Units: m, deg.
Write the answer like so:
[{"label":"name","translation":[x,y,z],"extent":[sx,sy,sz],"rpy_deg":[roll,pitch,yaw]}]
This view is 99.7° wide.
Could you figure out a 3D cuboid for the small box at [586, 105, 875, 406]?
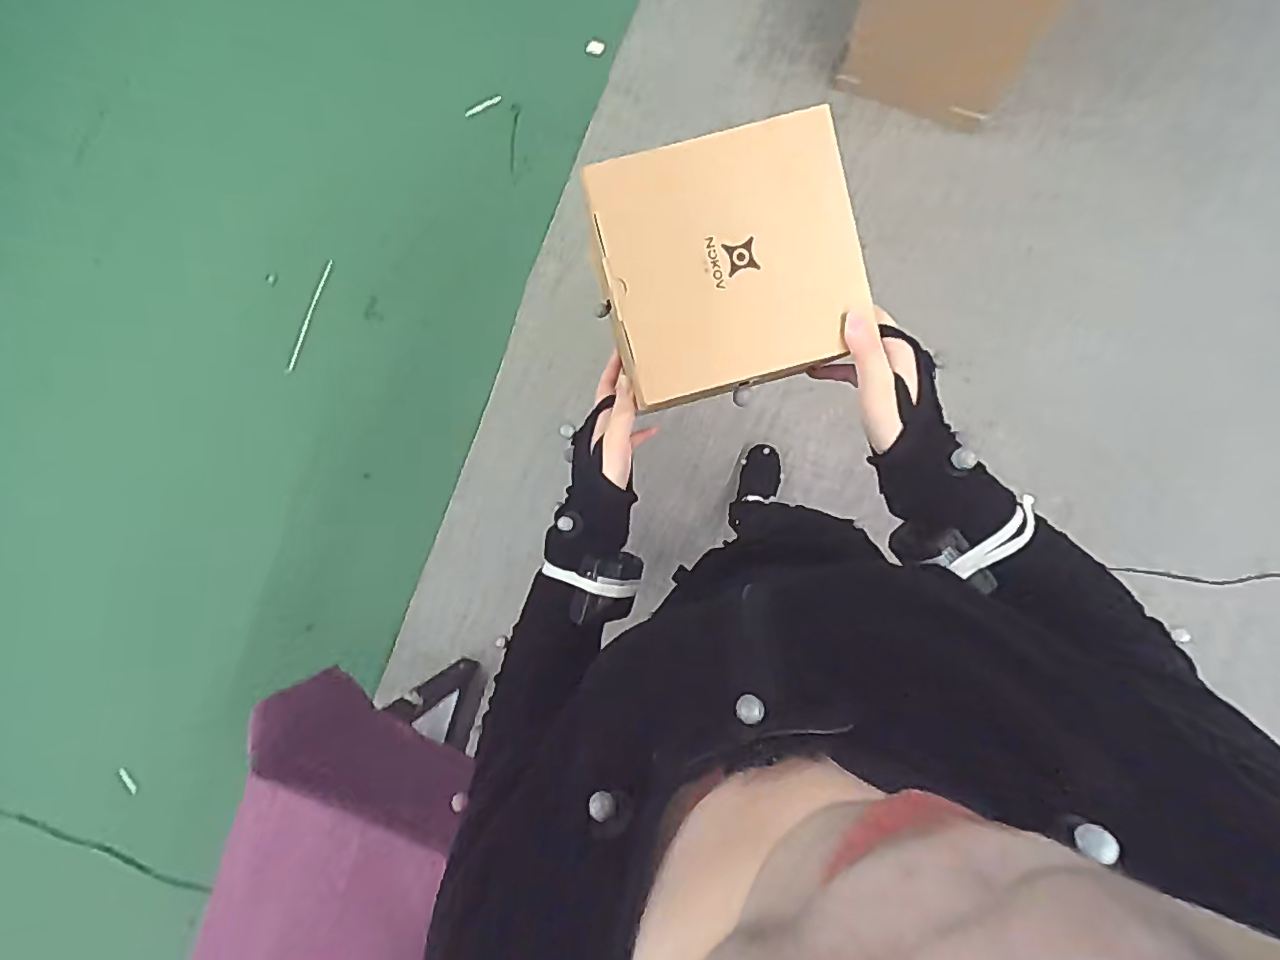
[{"label":"small box","translation":[0.062,-0.163,0.452],"extent":[0.179,0.176,0.168],"rpy_deg":[-14,94,0]}]
